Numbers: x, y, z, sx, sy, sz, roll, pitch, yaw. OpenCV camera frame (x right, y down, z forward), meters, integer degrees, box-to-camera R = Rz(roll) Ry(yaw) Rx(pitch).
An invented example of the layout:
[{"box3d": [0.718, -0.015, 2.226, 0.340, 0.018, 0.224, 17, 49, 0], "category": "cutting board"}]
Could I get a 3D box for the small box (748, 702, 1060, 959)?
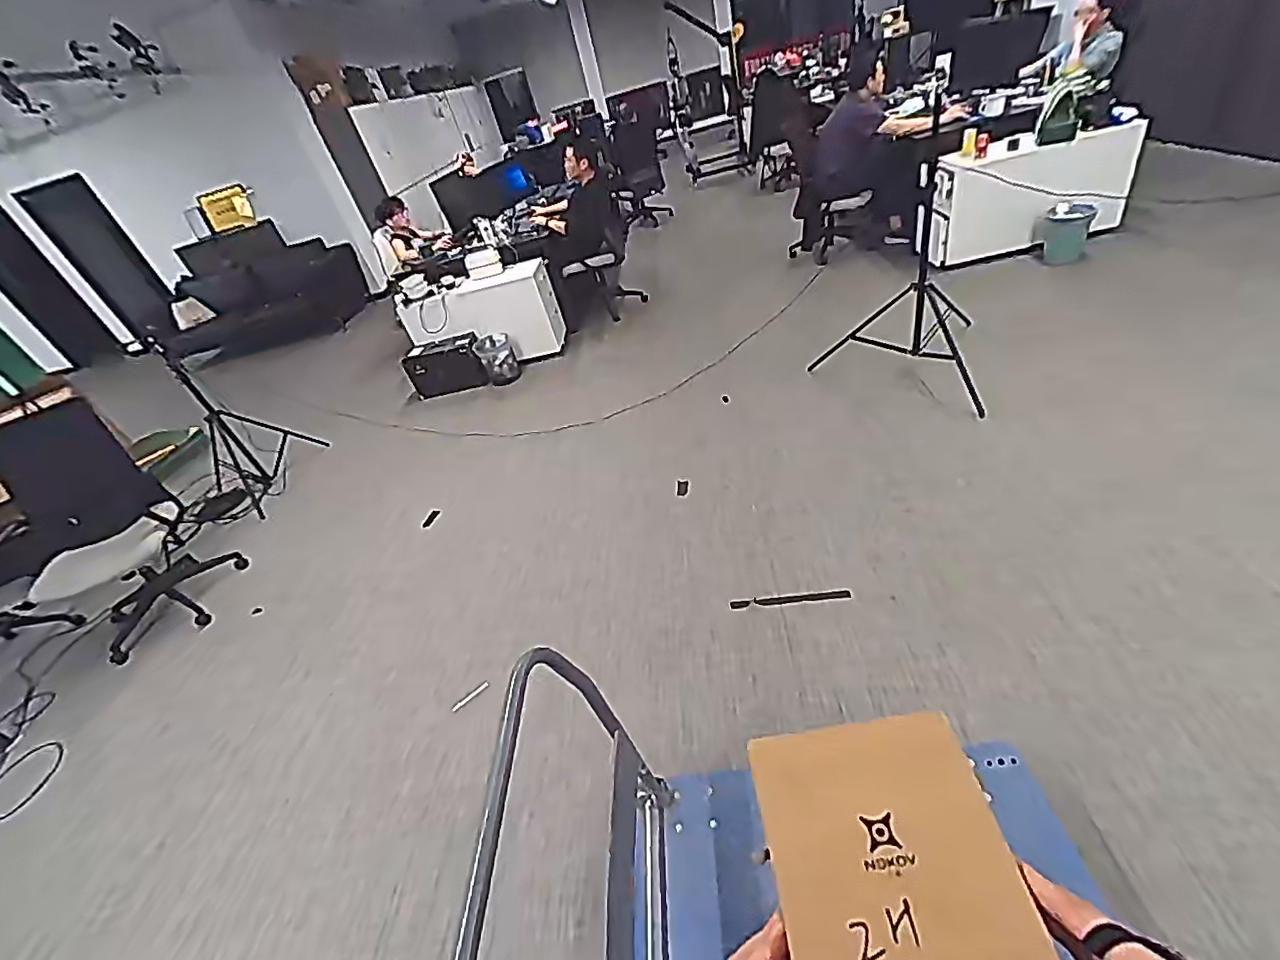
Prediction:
[{"box3d": [0.192, 0.313, 0.448, 0.168, 0.176, 0.179, -13, 45, 7], "category": "small box"}]
